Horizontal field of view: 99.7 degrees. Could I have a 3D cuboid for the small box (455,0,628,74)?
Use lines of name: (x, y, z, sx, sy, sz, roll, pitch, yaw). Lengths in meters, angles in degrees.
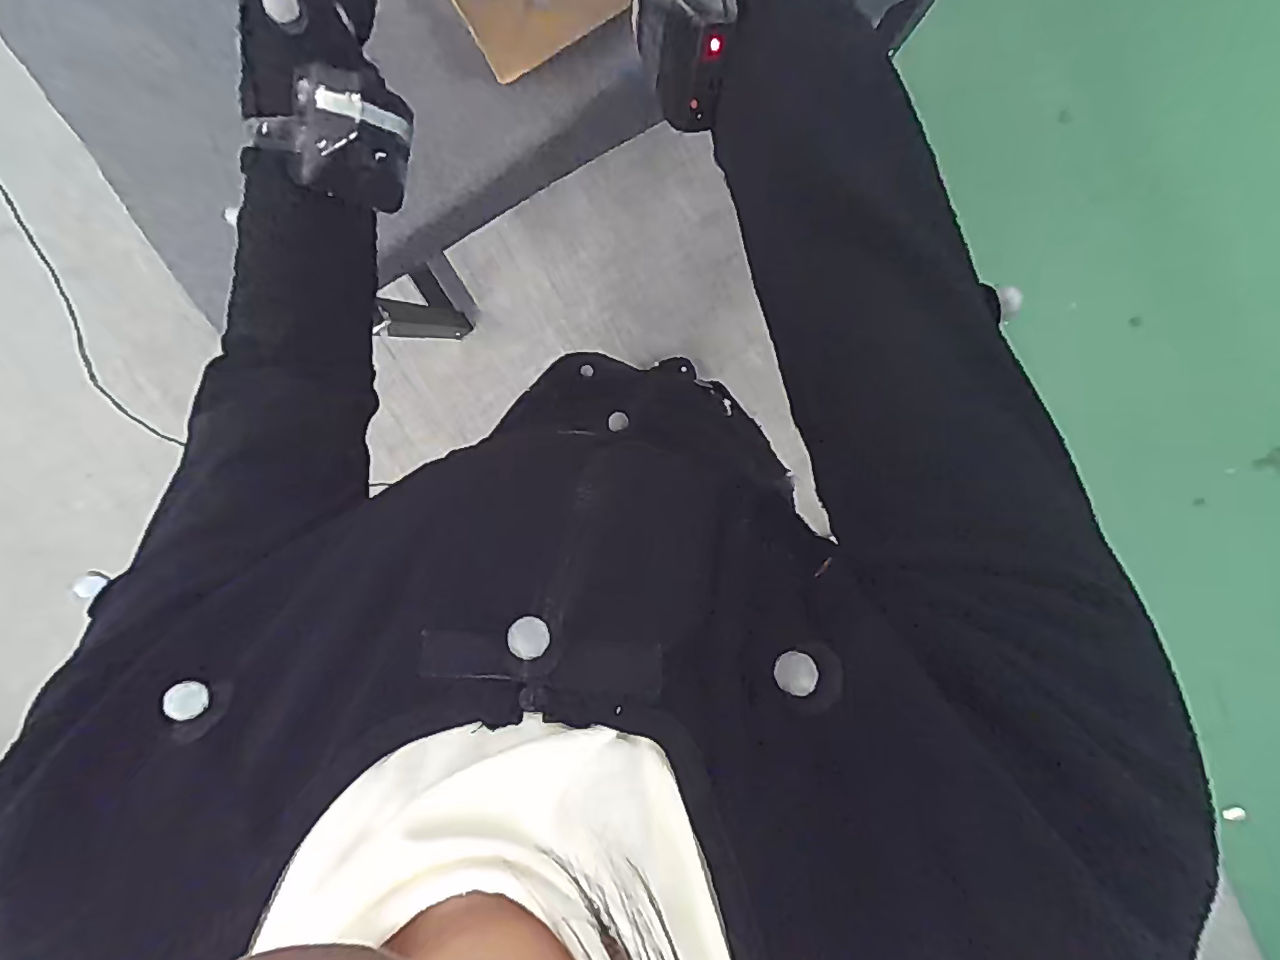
small box: (-0.113, -0.522, 0.485, 0.179, 0.176, 0.168, -26, 100, 10)
